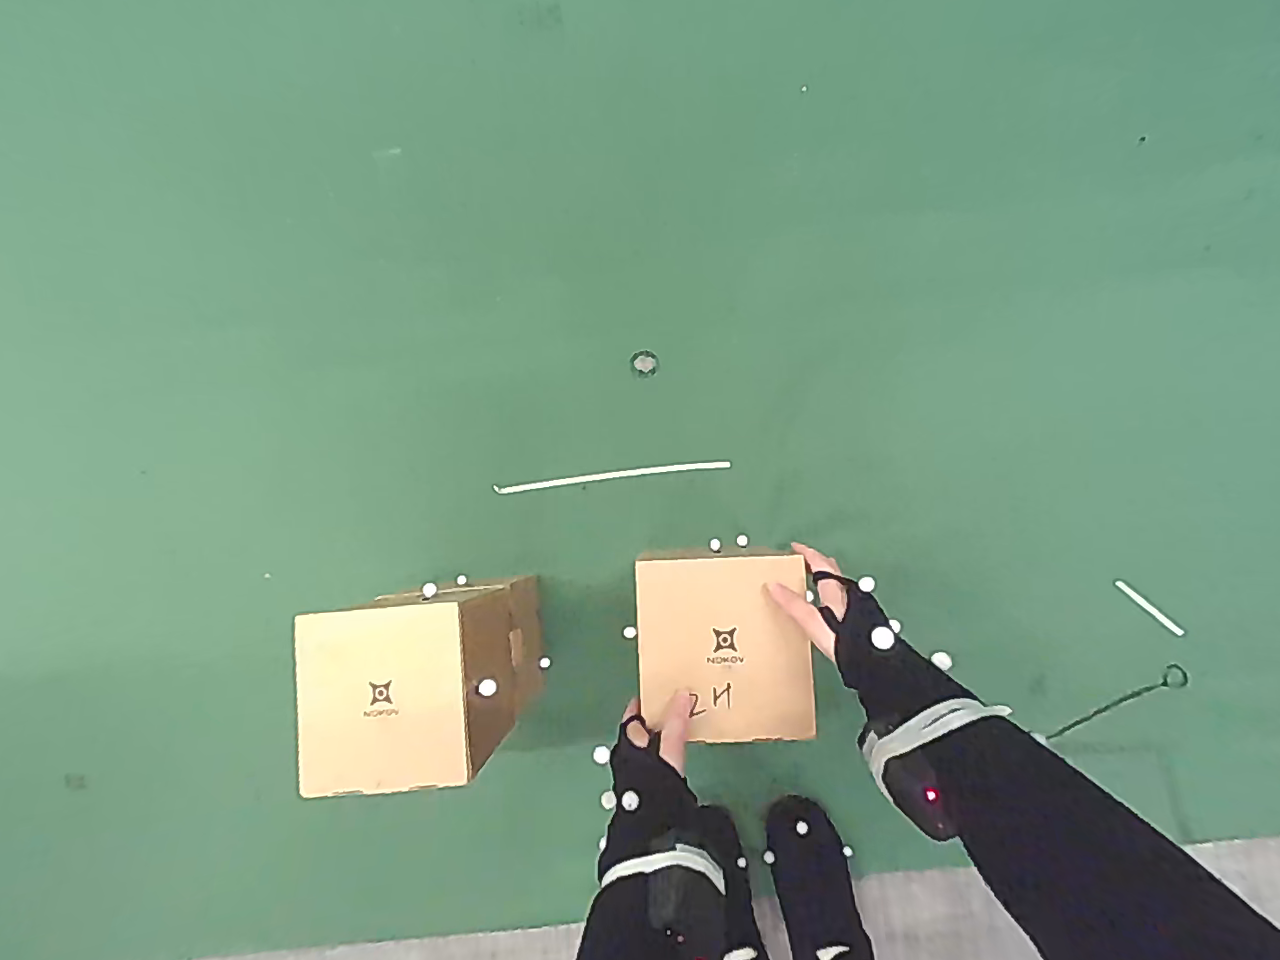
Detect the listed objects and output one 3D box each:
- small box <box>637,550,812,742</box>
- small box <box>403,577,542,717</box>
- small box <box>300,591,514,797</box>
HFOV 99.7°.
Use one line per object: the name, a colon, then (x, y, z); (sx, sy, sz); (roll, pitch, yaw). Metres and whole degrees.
small box: (0.081, 0.167, 0.598); (0.168, 0.176, 0.179); (-3, 85, 2)
small box: (-0.242, 0.233, 0.770); (0.179, 0.176, 0.168); (-6, 84, 3)
small box: (-0.247, 0.221, 0.607); (0.168, 0.176, 0.179); (-6, 85, 2)
